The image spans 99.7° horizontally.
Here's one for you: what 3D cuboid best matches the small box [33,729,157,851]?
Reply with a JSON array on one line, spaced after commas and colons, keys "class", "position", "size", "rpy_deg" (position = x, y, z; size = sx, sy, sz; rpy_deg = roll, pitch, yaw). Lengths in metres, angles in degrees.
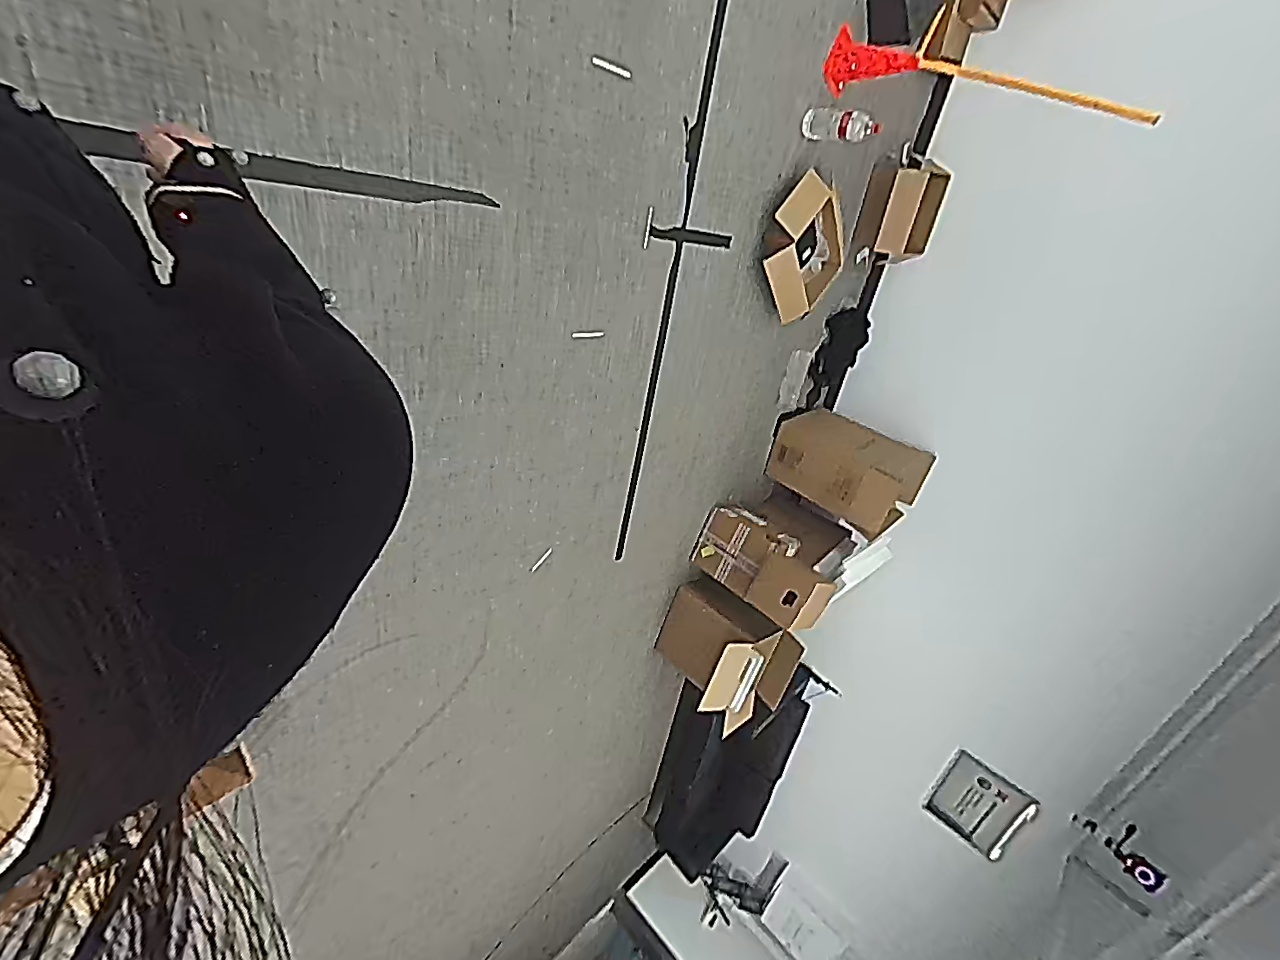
[{"class": "small box", "position": [-1.368, 0.771, 1.361], "size": [0.168, 0.176, 0.179], "rpy_deg": [-28, 136, -38]}]
